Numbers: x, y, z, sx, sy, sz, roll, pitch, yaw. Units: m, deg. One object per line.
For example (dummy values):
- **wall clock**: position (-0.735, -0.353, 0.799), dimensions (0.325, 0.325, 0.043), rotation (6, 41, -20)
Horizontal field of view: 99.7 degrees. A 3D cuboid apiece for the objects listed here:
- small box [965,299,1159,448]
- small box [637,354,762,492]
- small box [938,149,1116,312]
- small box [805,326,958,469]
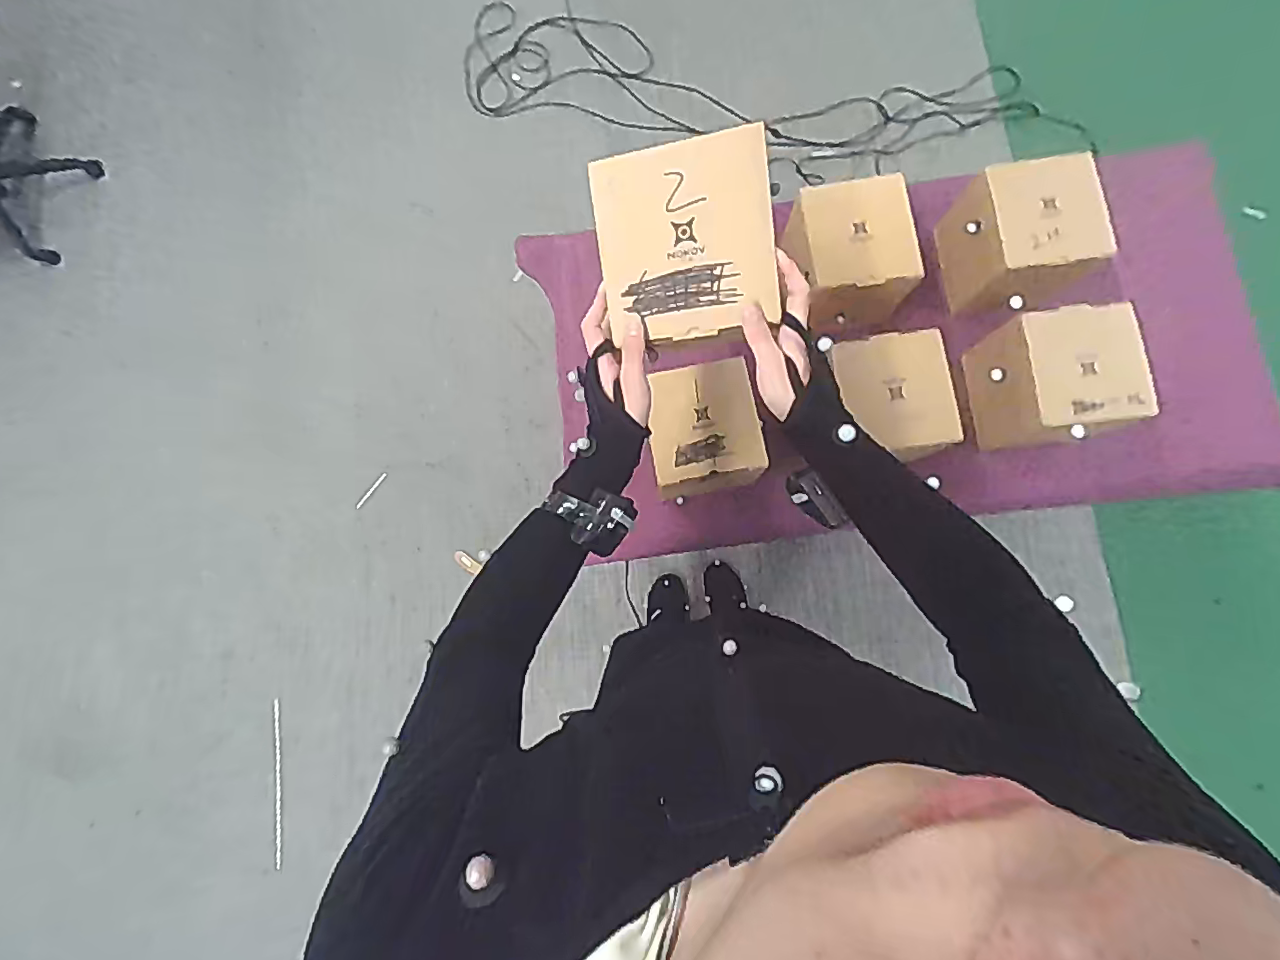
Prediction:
- **small box**: position (0.651, -0.160, 0.860), dimensions (0.168, 0.176, 0.179), rotation (-6, 80, 4)
- **small box**: position (0.094, -0.081, 0.886), dimensions (0.168, 0.176, 0.179), rotation (-10, 79, 2)
- **small box**: position (0.624, -0.404, 0.898), dimensions (0.168, 0.176, 0.179), rotation (-6, 82, 4)
- **small box**: position (0.377, -0.125, 0.876), dimensions (0.168, 0.176, 0.179), rotation (-7, 81, 4)
